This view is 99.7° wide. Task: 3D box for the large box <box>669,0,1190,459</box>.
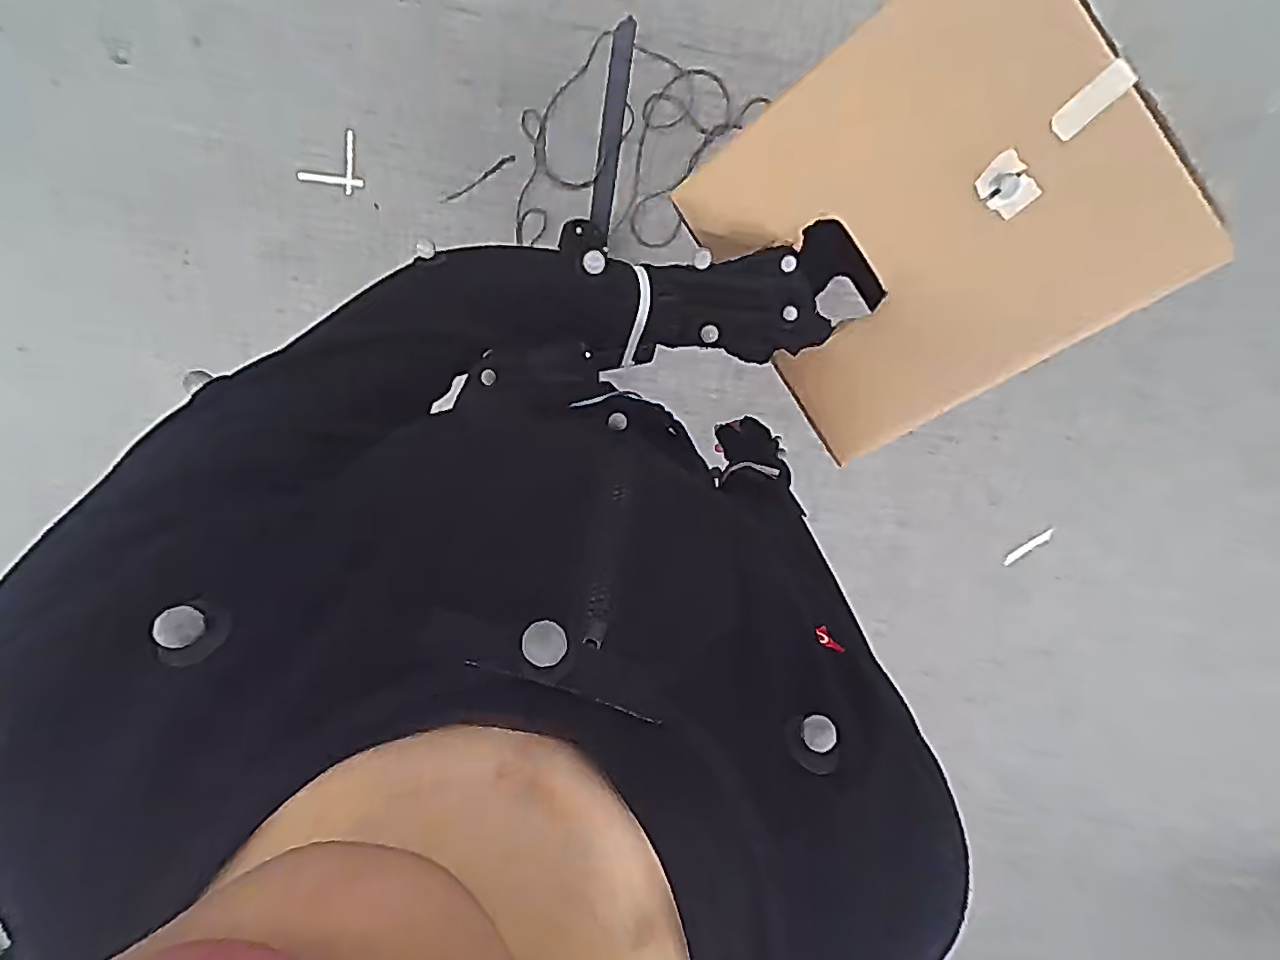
[{"bbox_3d":[0.296,-0.256,0.636,0.320,0.408,0.320,-30,89,26],"label":"large box"}]
